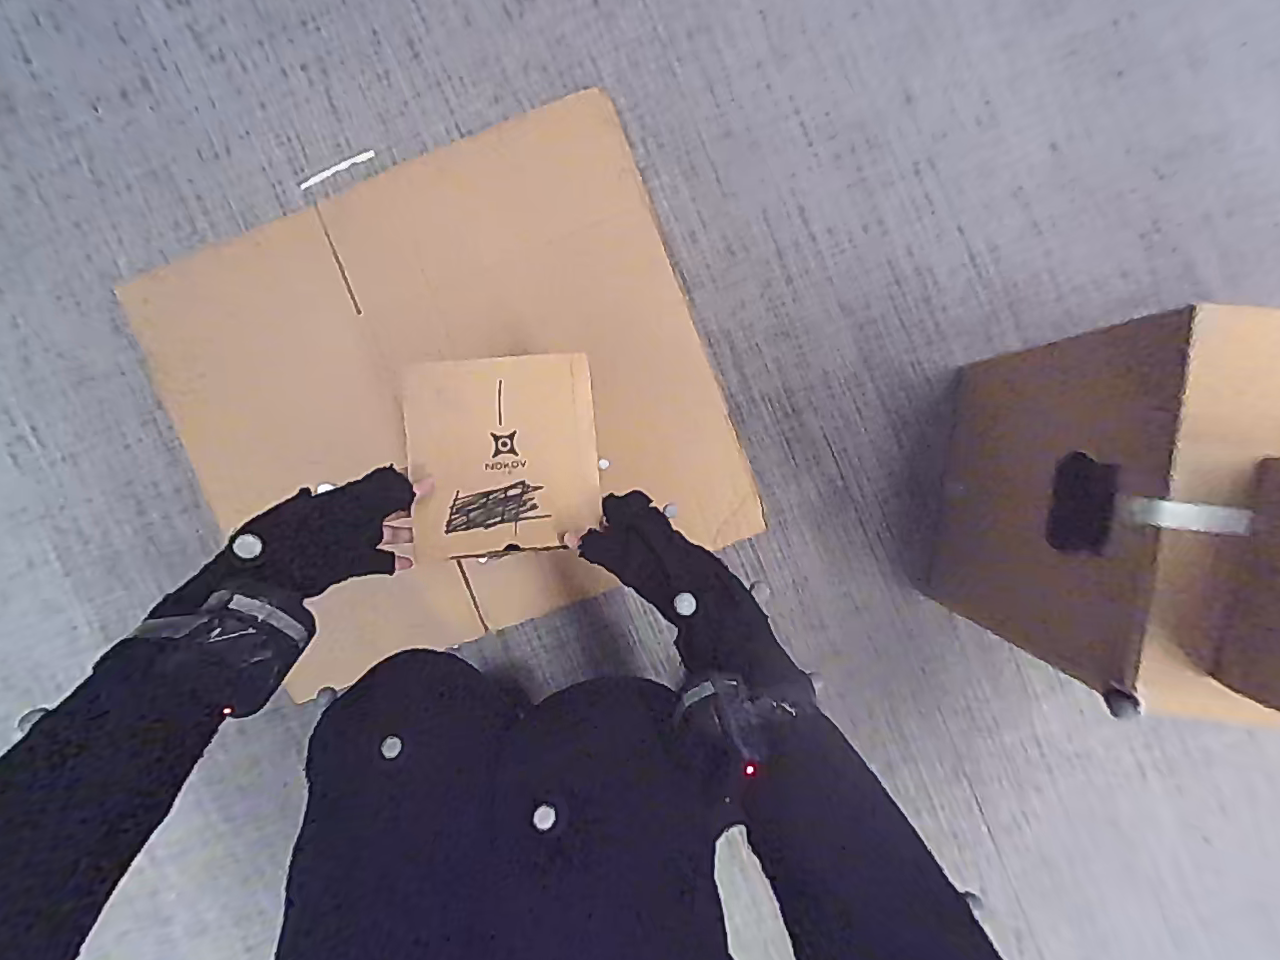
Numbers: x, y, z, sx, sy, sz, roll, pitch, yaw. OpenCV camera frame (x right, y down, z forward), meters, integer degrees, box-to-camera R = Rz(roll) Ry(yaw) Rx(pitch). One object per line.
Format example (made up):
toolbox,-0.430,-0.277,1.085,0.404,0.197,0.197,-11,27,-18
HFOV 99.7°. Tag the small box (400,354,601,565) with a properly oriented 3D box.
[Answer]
small box,-0.127,-0.014,0.552,0.168,0.176,0.179,-6,85,-6

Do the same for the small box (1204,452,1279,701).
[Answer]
small box,0.510,0.078,0.324,0.168,0.176,0.179,8,95,3
